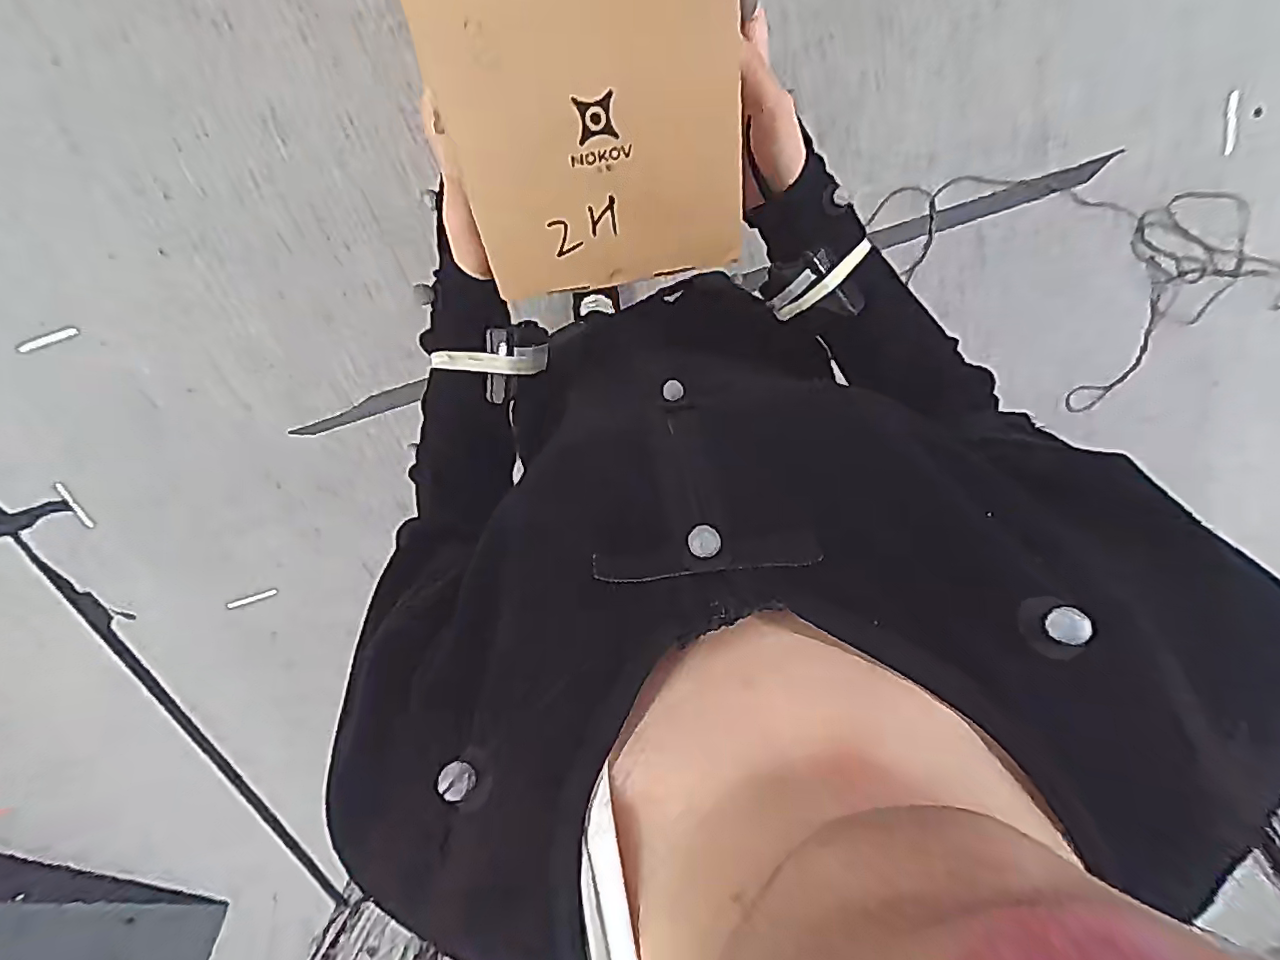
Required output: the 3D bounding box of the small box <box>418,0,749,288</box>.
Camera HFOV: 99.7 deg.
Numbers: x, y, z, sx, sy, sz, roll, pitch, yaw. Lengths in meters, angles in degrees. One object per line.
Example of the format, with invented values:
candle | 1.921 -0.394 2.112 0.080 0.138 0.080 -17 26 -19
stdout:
small box | -0.028 -0.254 0.360 0.168 0.176 0.179 -8 133 2
